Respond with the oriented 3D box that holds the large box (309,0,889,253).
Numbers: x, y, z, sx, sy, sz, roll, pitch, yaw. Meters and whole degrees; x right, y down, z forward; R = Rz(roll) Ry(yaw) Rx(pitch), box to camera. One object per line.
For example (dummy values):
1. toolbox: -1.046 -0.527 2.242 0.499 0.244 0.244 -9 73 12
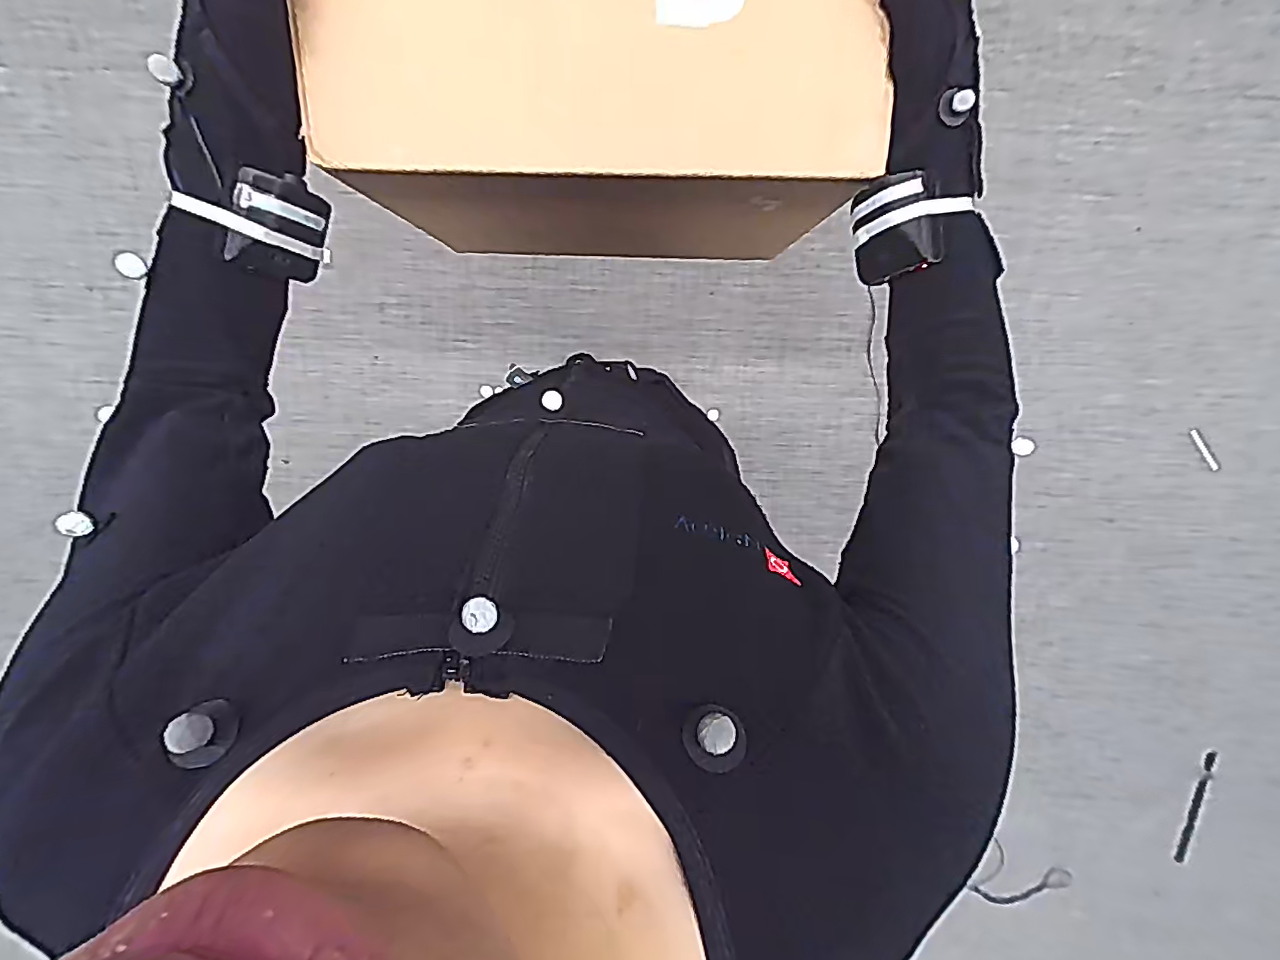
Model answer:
1. large box: -0.029 -0.407 0.504 0.408 0.320 0.320 1 102 -1
